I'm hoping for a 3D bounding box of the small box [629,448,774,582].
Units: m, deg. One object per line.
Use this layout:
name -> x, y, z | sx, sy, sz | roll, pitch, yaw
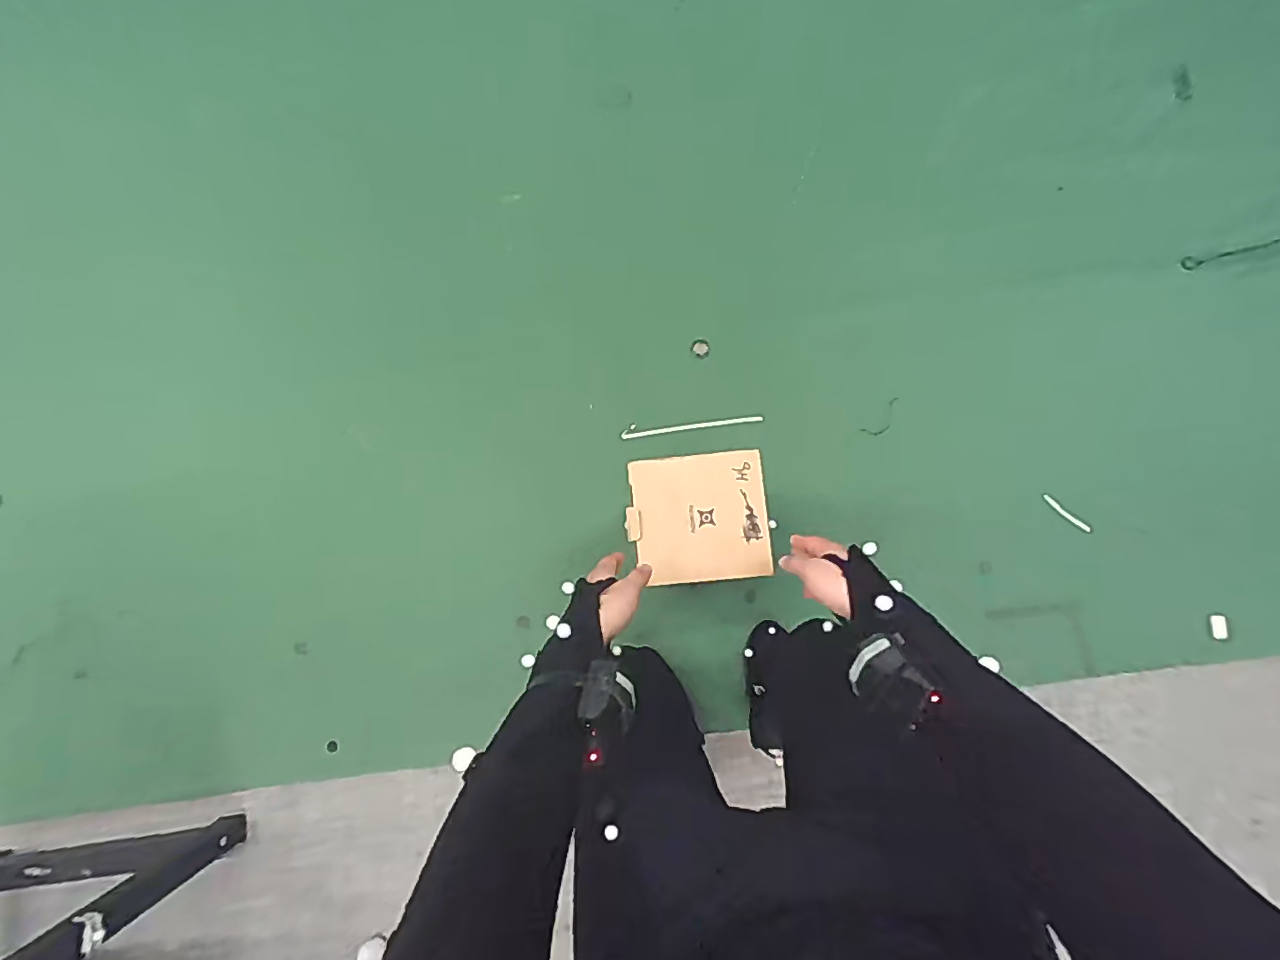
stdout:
small box -> 0.082, 0.054, 0.772 | 0.179, 0.176, 0.168 | -5, 84, 2
